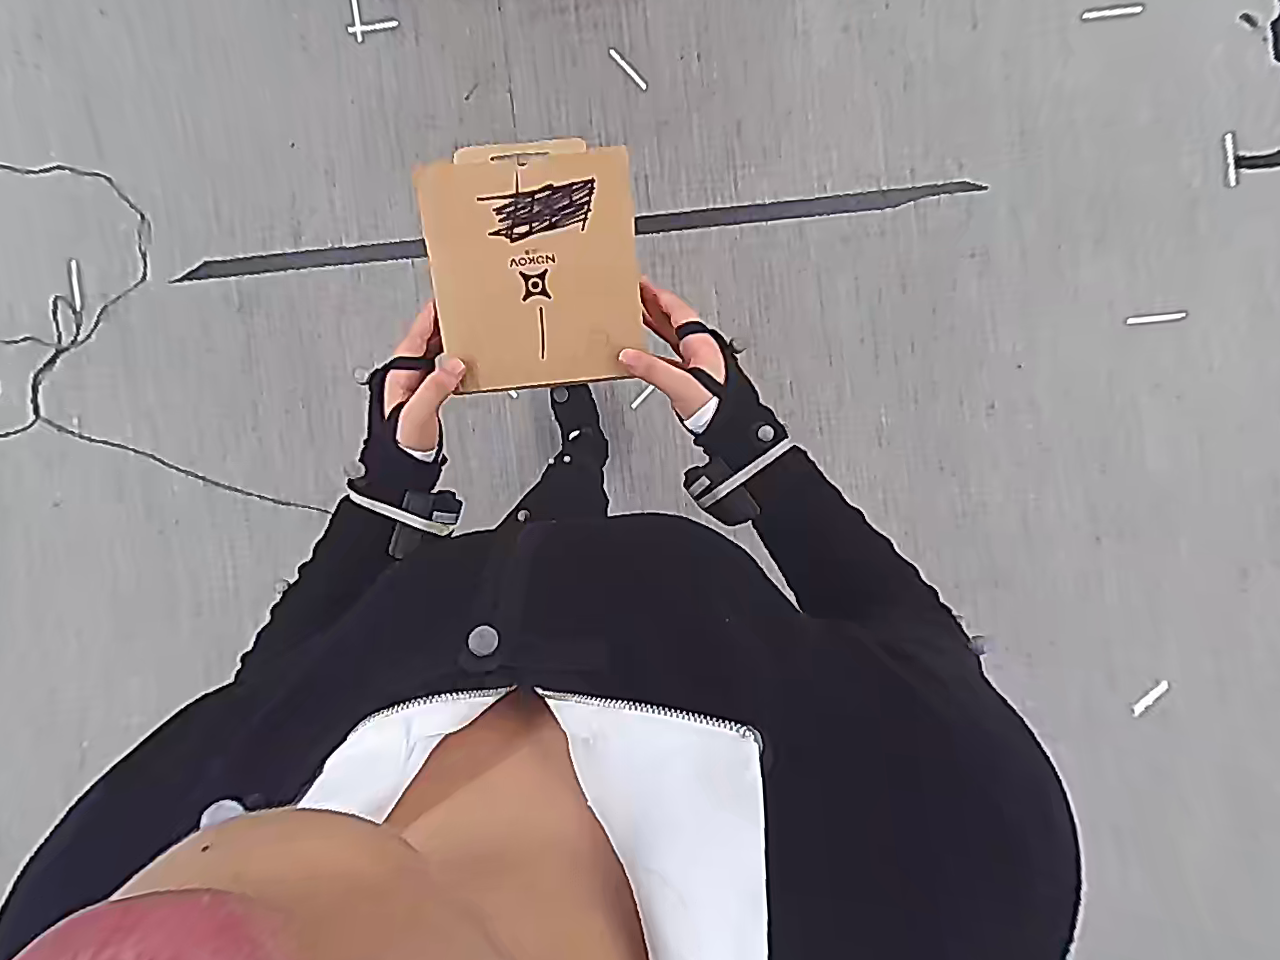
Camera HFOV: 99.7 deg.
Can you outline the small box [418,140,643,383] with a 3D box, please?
[{"bbox_3d":[-0.088,-0.188,0.514,0.168,0.176,0.179,-6,100,0],"label":"small box"}]
